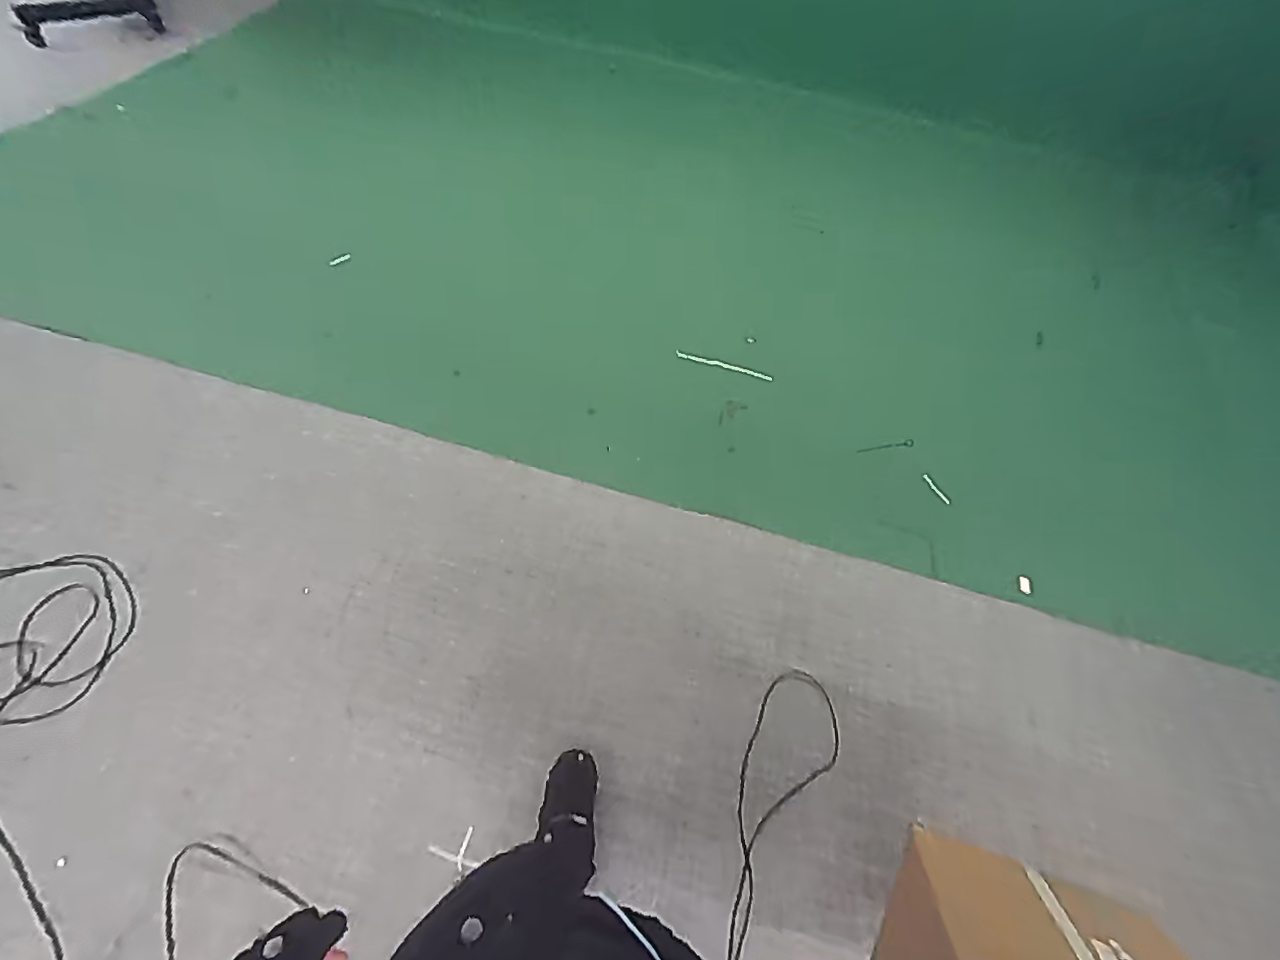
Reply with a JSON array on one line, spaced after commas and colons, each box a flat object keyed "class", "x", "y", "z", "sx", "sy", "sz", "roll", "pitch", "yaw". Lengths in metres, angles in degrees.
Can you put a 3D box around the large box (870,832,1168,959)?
[{"class": "large box", "x": 0.458, "y": 0.714, "z": 0.599, "sx": 0.320, "sy": 0.408, "sz": 0.320, "roll": 16, "pitch": 94, "yaw": 14}]
